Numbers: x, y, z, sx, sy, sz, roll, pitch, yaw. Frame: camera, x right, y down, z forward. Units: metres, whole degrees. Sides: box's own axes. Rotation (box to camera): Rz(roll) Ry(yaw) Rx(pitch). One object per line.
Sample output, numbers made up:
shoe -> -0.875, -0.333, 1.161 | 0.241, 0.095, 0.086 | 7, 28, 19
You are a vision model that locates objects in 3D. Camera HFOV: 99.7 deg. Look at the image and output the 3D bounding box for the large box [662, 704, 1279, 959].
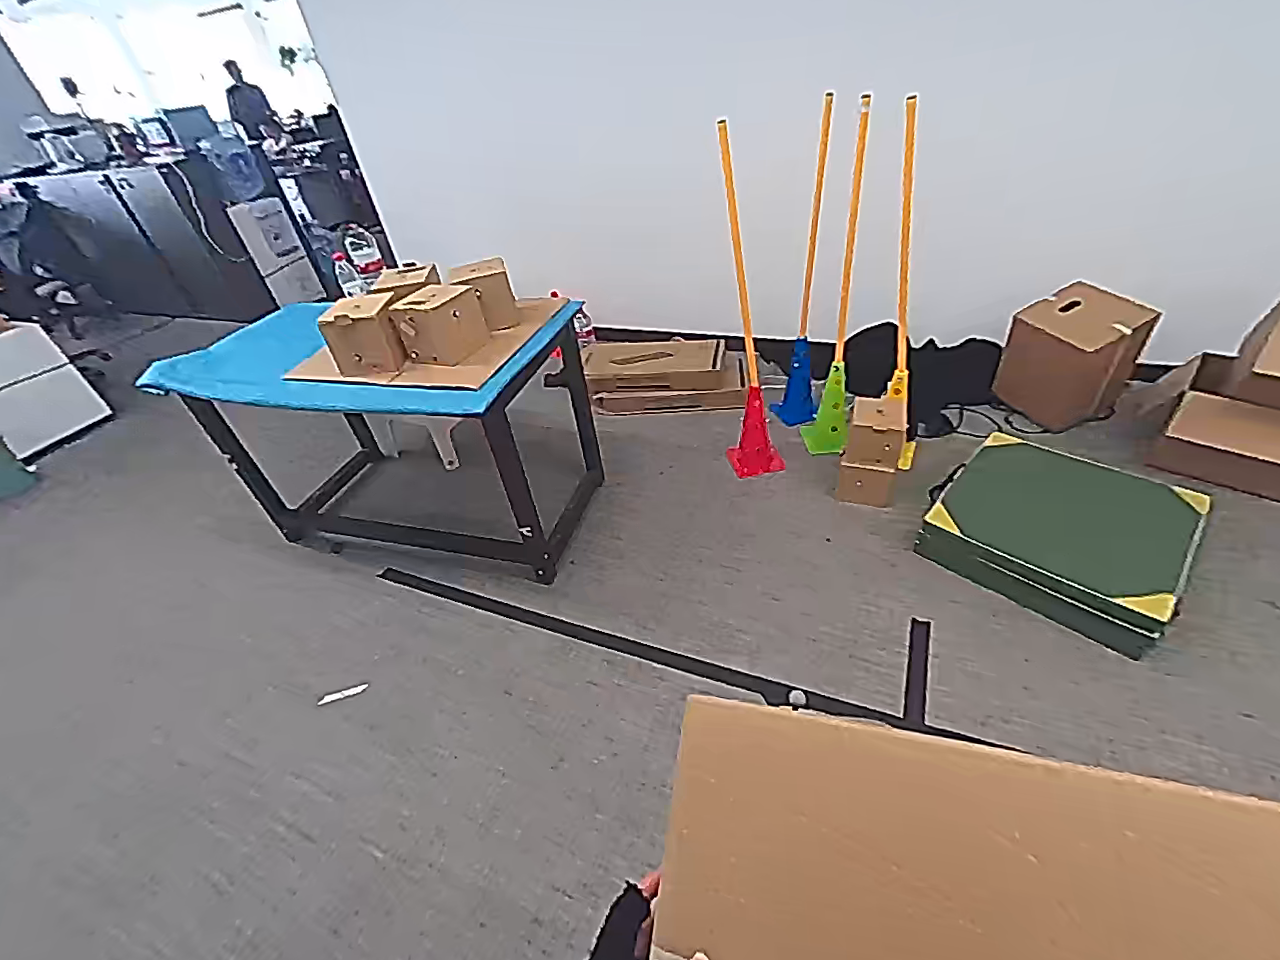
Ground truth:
large box -> 0.244, 0.366, 0.397 | 0.408, 0.320, 0.320 | 2, 68, 22
